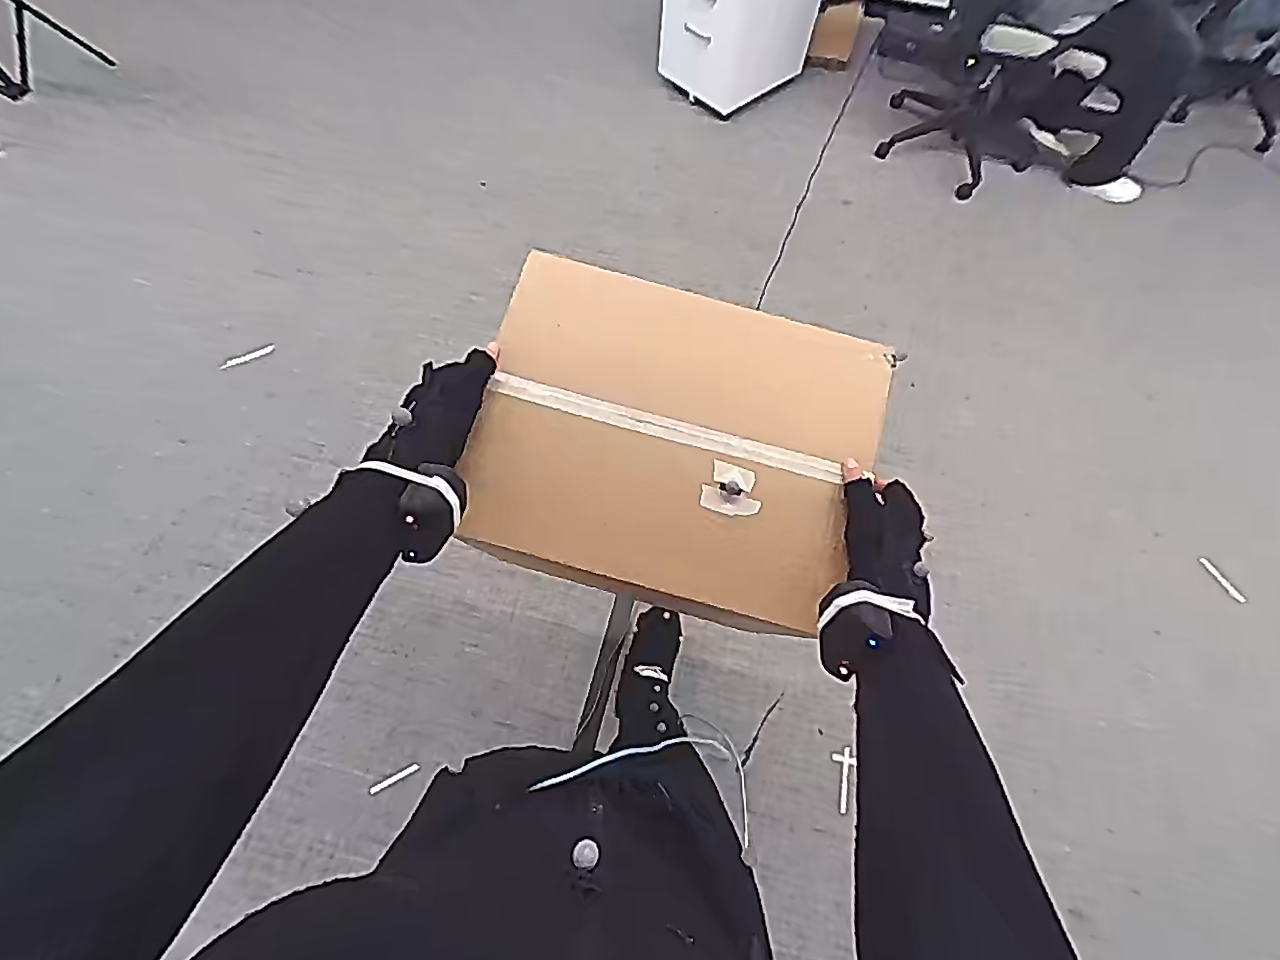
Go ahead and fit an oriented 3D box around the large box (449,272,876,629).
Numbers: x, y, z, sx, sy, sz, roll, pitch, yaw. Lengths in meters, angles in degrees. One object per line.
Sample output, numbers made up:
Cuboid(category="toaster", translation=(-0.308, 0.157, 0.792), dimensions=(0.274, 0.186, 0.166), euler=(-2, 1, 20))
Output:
Cuboid(category="large box", translation=(0.026, -0.008, 0.711), dimensions=(0.408, 0.320, 0.320), euler=(15, 77, 0))
